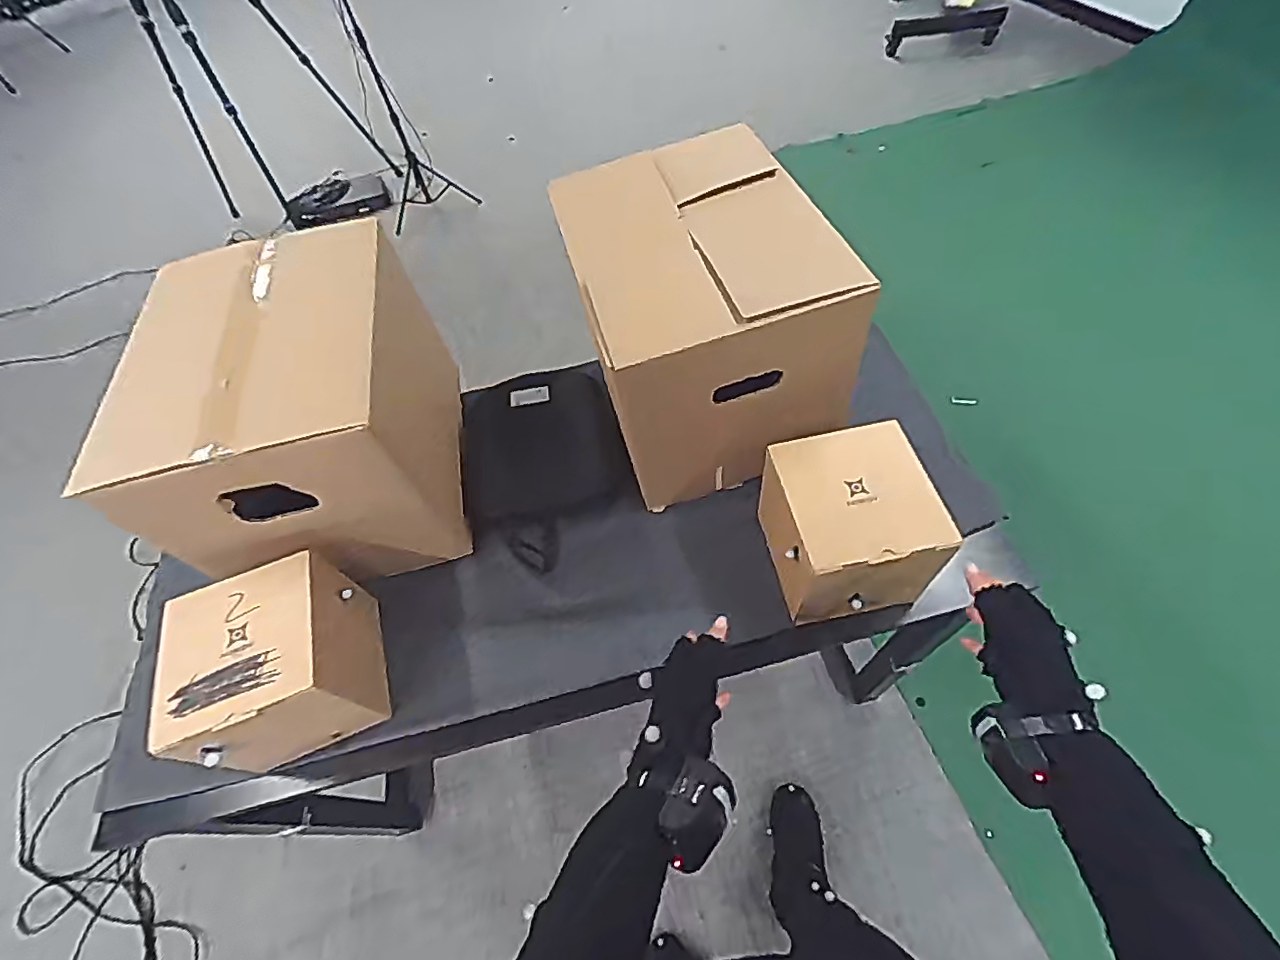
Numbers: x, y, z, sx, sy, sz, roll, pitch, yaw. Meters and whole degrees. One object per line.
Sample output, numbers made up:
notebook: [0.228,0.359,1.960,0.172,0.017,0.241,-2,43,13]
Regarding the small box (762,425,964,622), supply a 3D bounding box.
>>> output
small box: [0.260,0.059,0.687,0.168,0.176,0.179,-11,57,0]
